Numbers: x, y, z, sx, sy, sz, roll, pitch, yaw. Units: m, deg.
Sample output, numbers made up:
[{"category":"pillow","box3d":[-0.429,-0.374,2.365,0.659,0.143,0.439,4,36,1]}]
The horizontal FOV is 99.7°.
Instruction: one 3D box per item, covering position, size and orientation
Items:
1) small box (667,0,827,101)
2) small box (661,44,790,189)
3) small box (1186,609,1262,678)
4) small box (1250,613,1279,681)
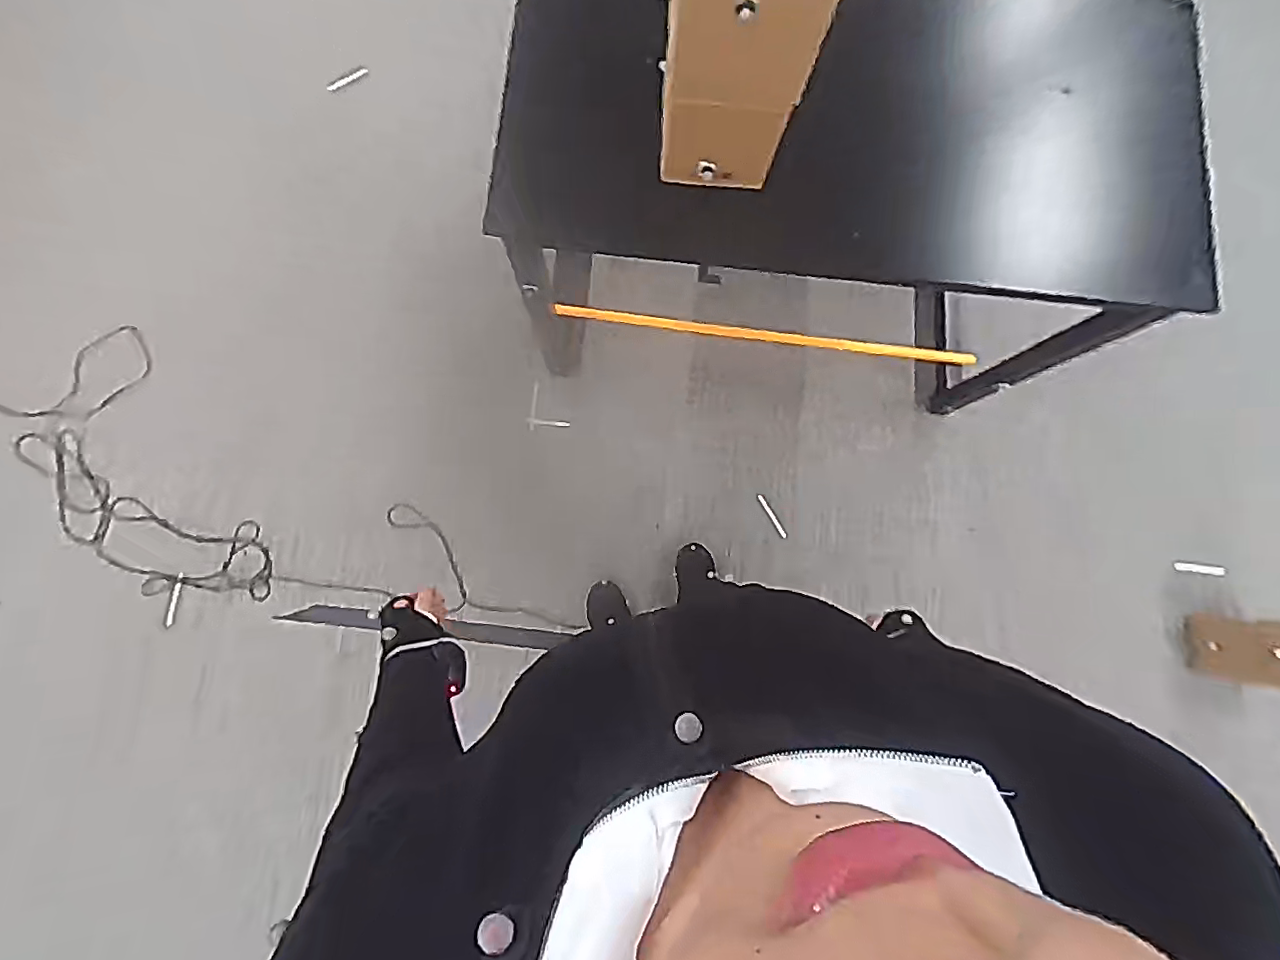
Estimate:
[{"category":"small box","box3d":[0.125,-0.596,0.651,0.179,0.176,0.168,1,82,-3]},{"category":"small box","box3d":[0.119,-0.576,0.815,0.168,0.176,0.179,1,83,-2]},{"category":"small box","box3d":[1.654,0.447,1.479,0.179,0.176,0.168,5,82,-1]},{"category":"small box","box3d":[1.665,0.425,1.315,0.179,0.176,0.168,10,81,-1]}]
